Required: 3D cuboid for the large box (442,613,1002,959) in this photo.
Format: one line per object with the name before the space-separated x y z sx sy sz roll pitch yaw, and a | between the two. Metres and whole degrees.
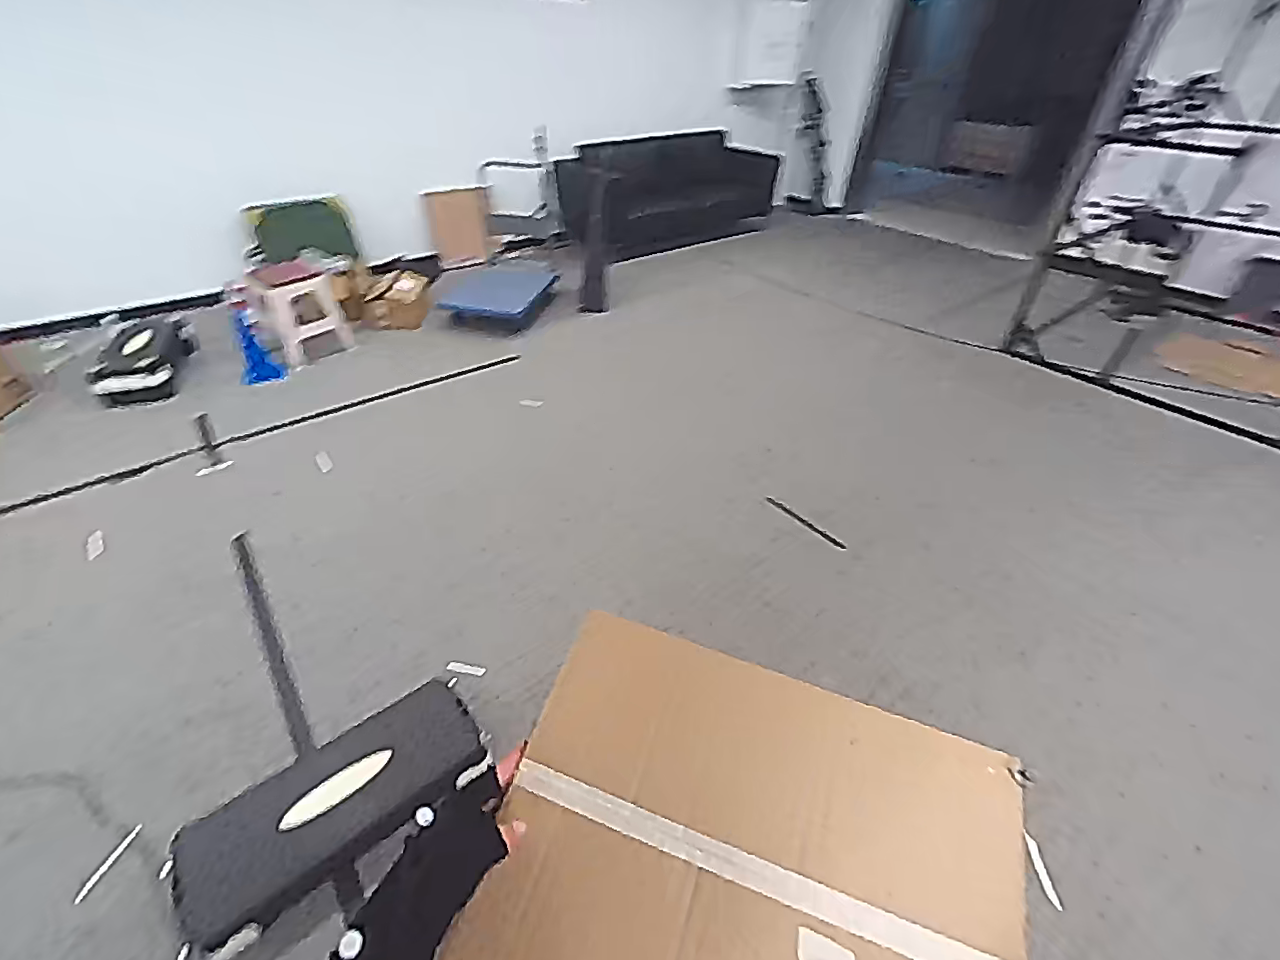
large box | 0.079 0.388 0.560 0.408 0.320 0.320 16 57 11
